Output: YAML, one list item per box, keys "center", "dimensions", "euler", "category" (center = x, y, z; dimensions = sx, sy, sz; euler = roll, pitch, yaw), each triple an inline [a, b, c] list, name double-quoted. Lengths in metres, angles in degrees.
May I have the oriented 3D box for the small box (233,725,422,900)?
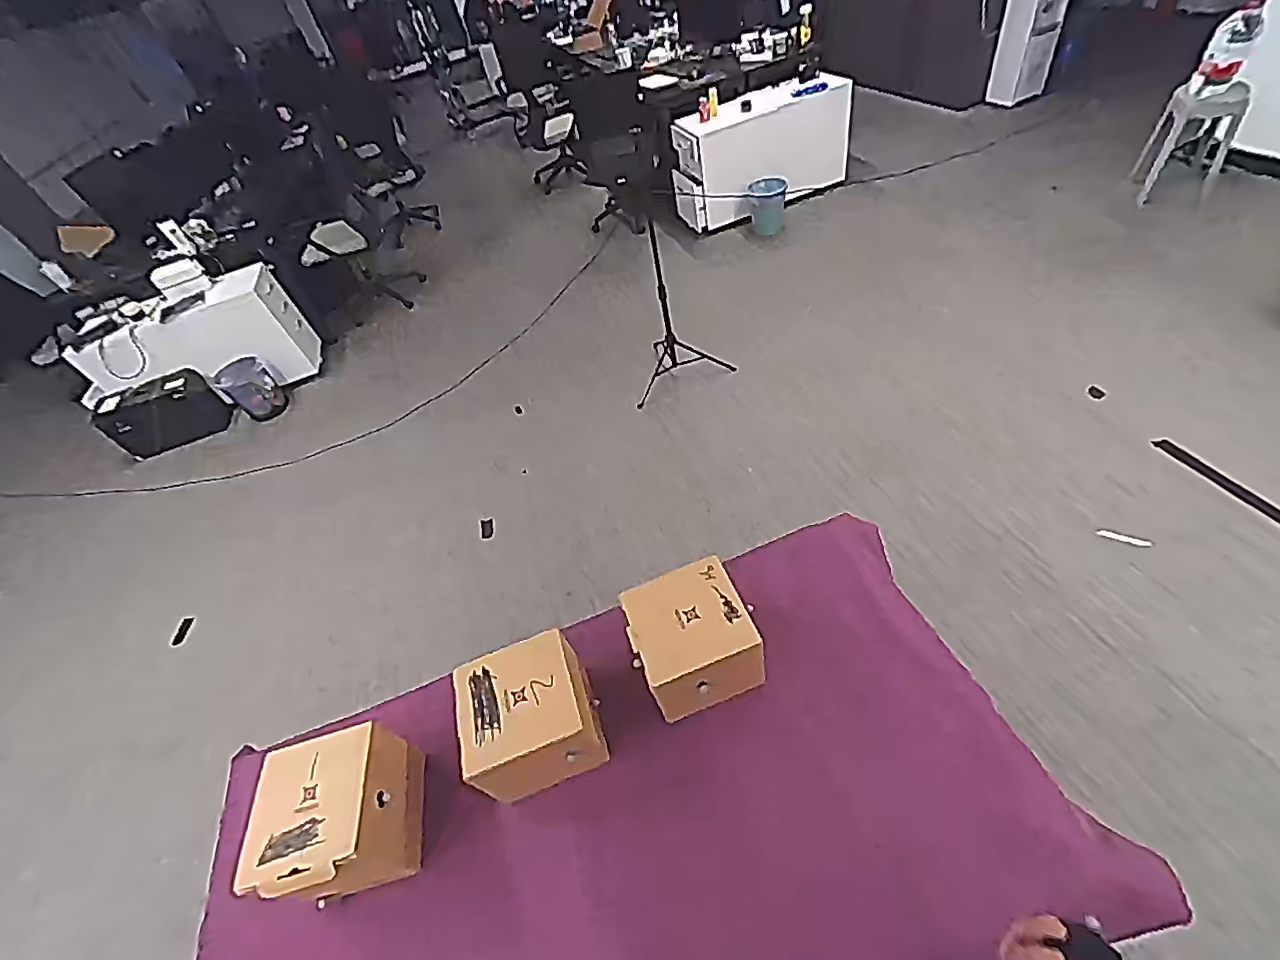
- center: [-0.441, 0.495, 0.799]
  dimensions: [0.168, 0.176, 0.179]
  euler: [-17, 47, -1]
  category: "small box"

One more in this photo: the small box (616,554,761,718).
- center: [0.082, 0.256, 0.871]
  dimensions: [0.179, 0.176, 0.168]
  euler: [-22, 49, -4]
  category: "small box"
